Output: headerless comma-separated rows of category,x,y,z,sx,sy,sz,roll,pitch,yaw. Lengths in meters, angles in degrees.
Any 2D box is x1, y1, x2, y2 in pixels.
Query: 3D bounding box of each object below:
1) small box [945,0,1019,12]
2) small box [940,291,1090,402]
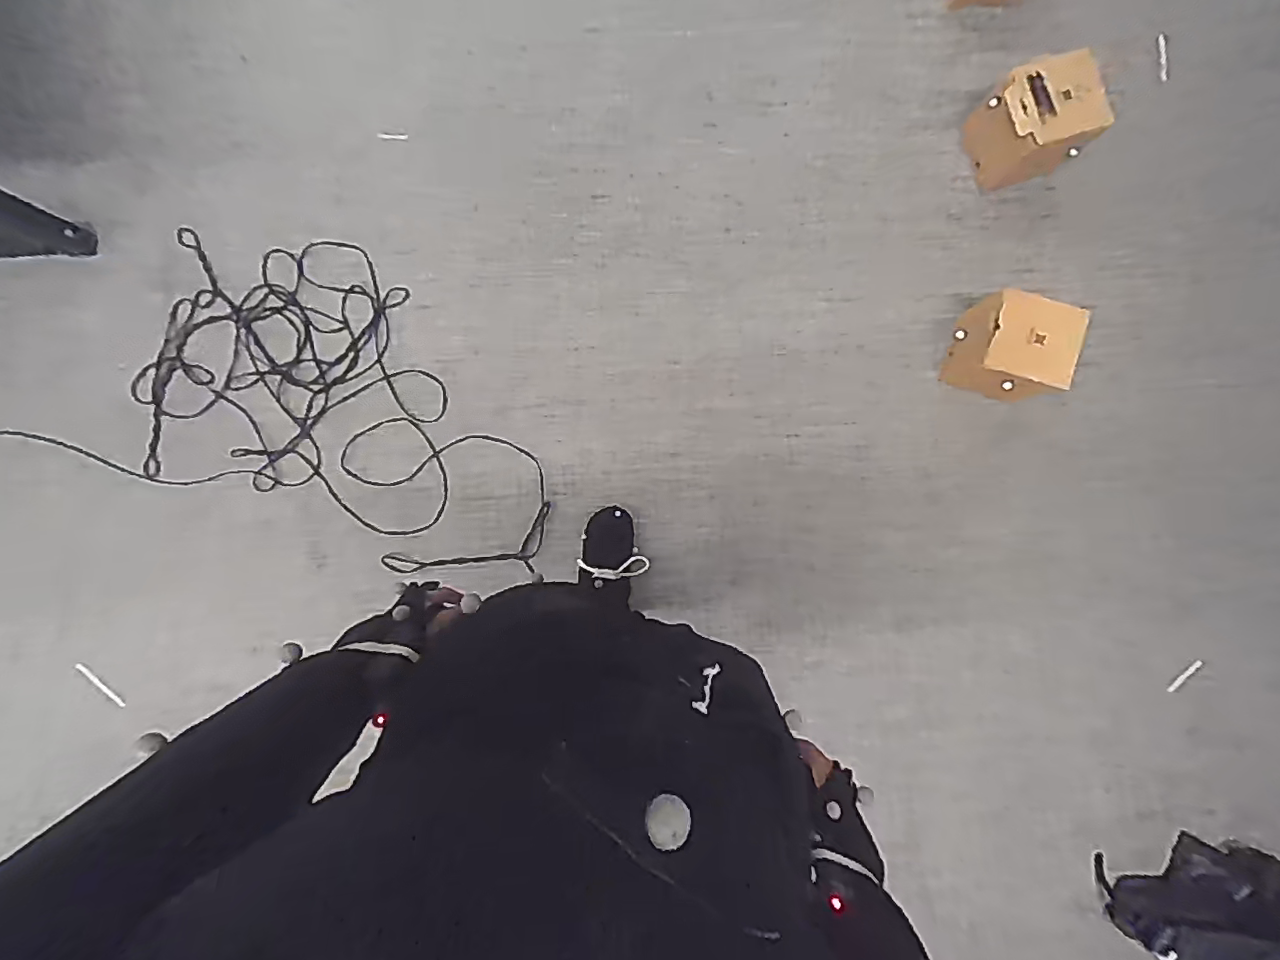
small box,0.783,-1.167,1.174,0.179,0.176,0.168,-6,89,-1
small box,0.781,-0.271,1.144,0.179,0.176,0.168,16,88,1
